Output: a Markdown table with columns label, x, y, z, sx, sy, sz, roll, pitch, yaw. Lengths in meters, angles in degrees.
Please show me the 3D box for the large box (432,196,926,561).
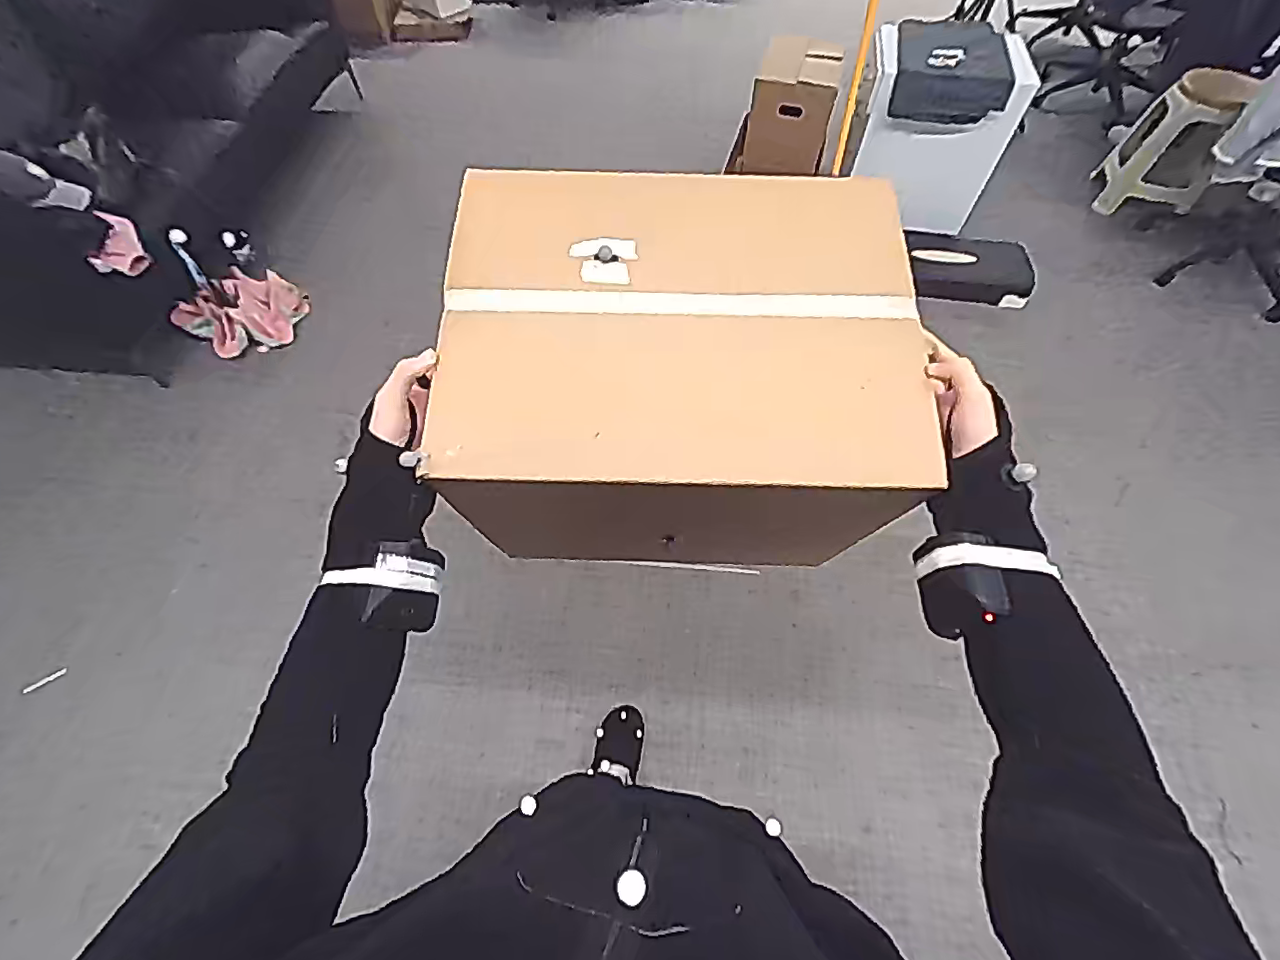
| label | x | y | z | sx | sy | sz | roll | pitch | yaw |
| --- | --- | --- | --- | --- | --- | --- | --- | --- | --- |
| large box | 0.035 | -0.084 | 0.618 | 0.408 | 0.320 | 0.320 | 1 | 70 | 1 |
